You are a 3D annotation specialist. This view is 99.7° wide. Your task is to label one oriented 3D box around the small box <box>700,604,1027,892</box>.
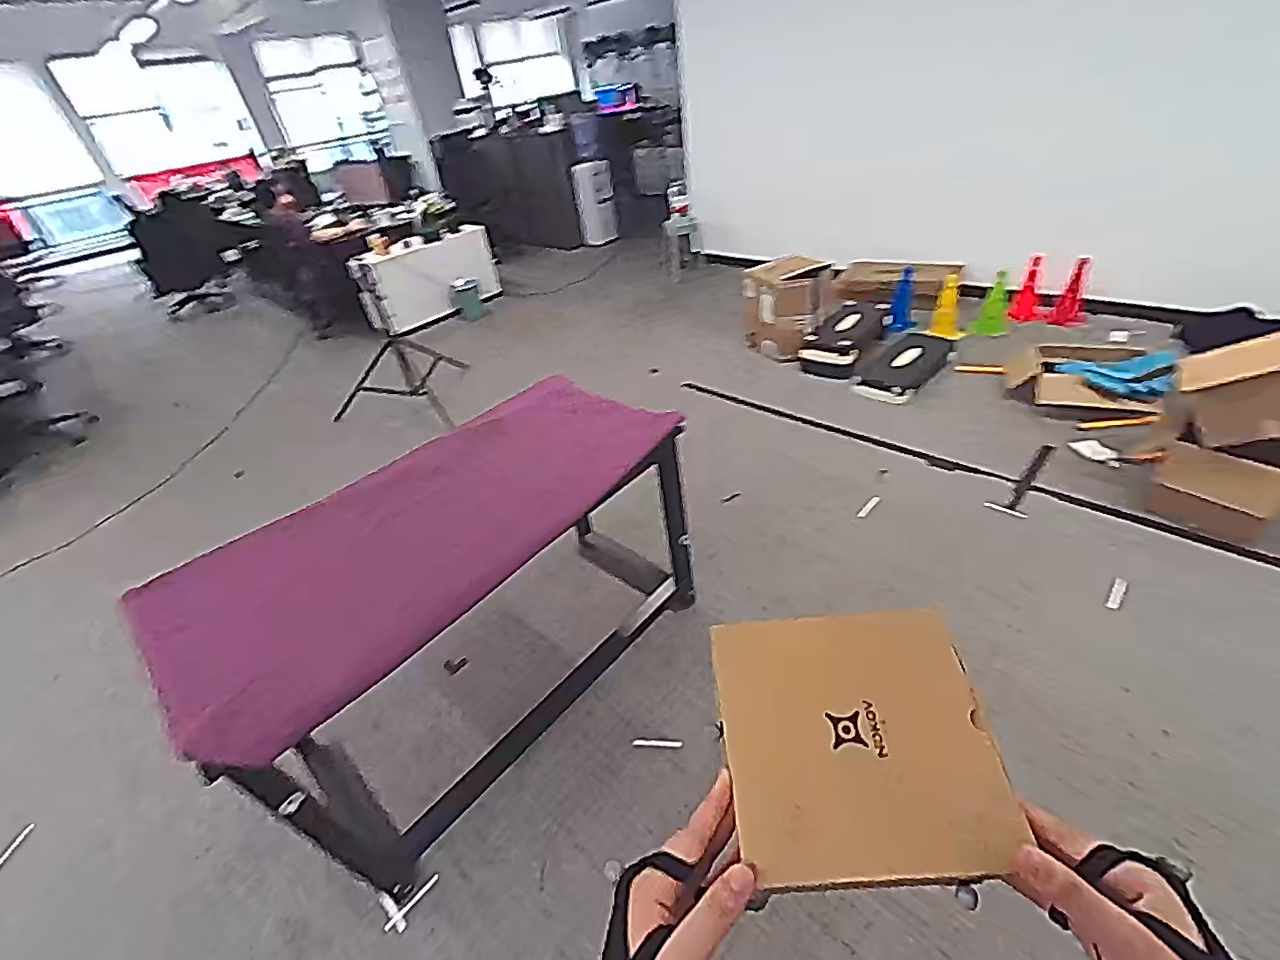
[{"bbox_3d":[0.147,0.218,0.430,0.179,0.176,0.168,-7,51,3],"label":"small box"}]
